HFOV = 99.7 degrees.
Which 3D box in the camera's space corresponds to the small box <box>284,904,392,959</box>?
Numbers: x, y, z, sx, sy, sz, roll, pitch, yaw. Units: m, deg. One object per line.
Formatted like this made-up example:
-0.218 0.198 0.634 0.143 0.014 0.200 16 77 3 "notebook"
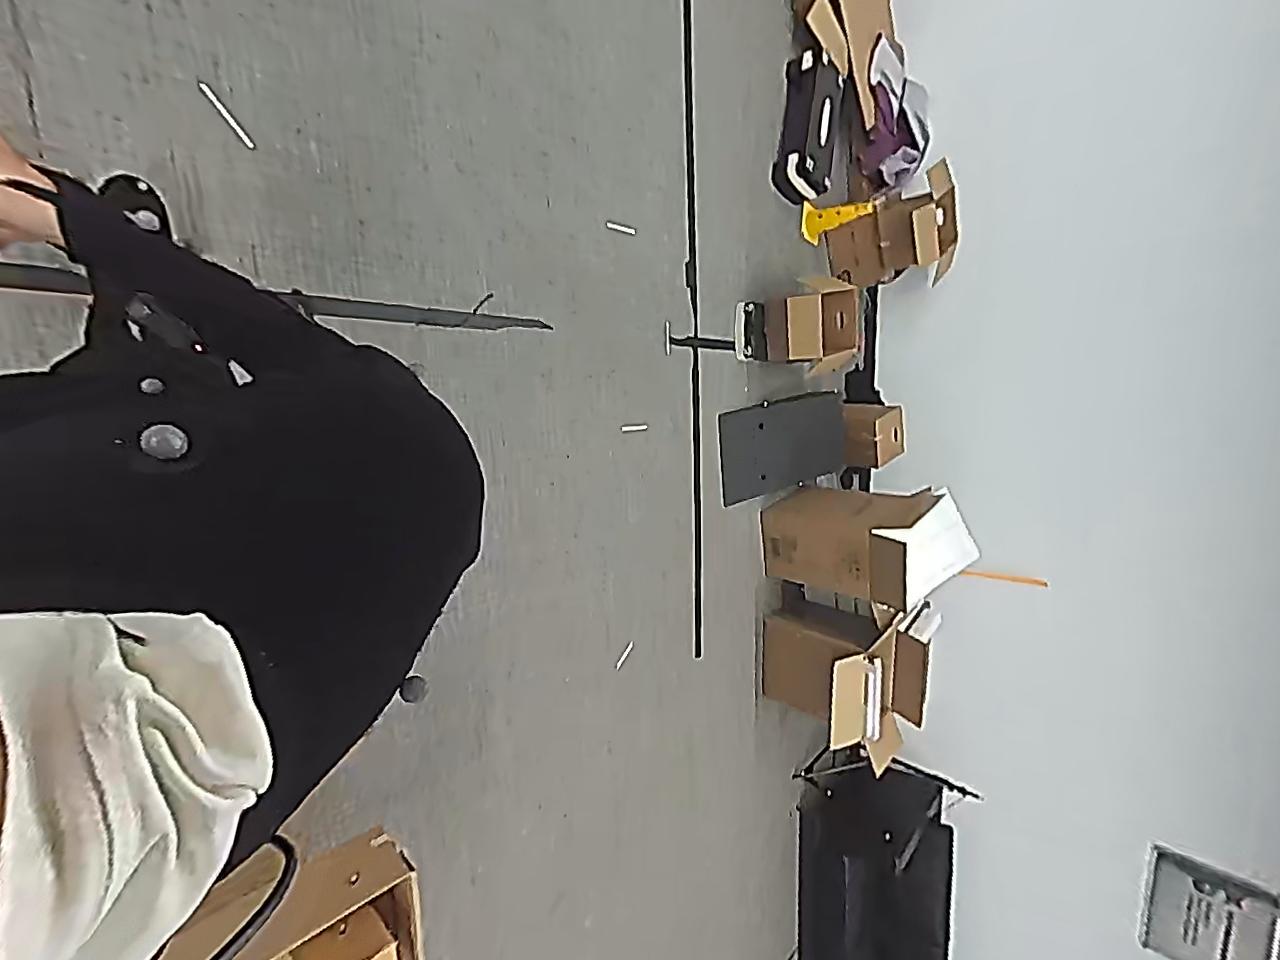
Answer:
-0.643 1.081 1.163 0.168 0.176 0.179 -12 104 -45 "small box"
